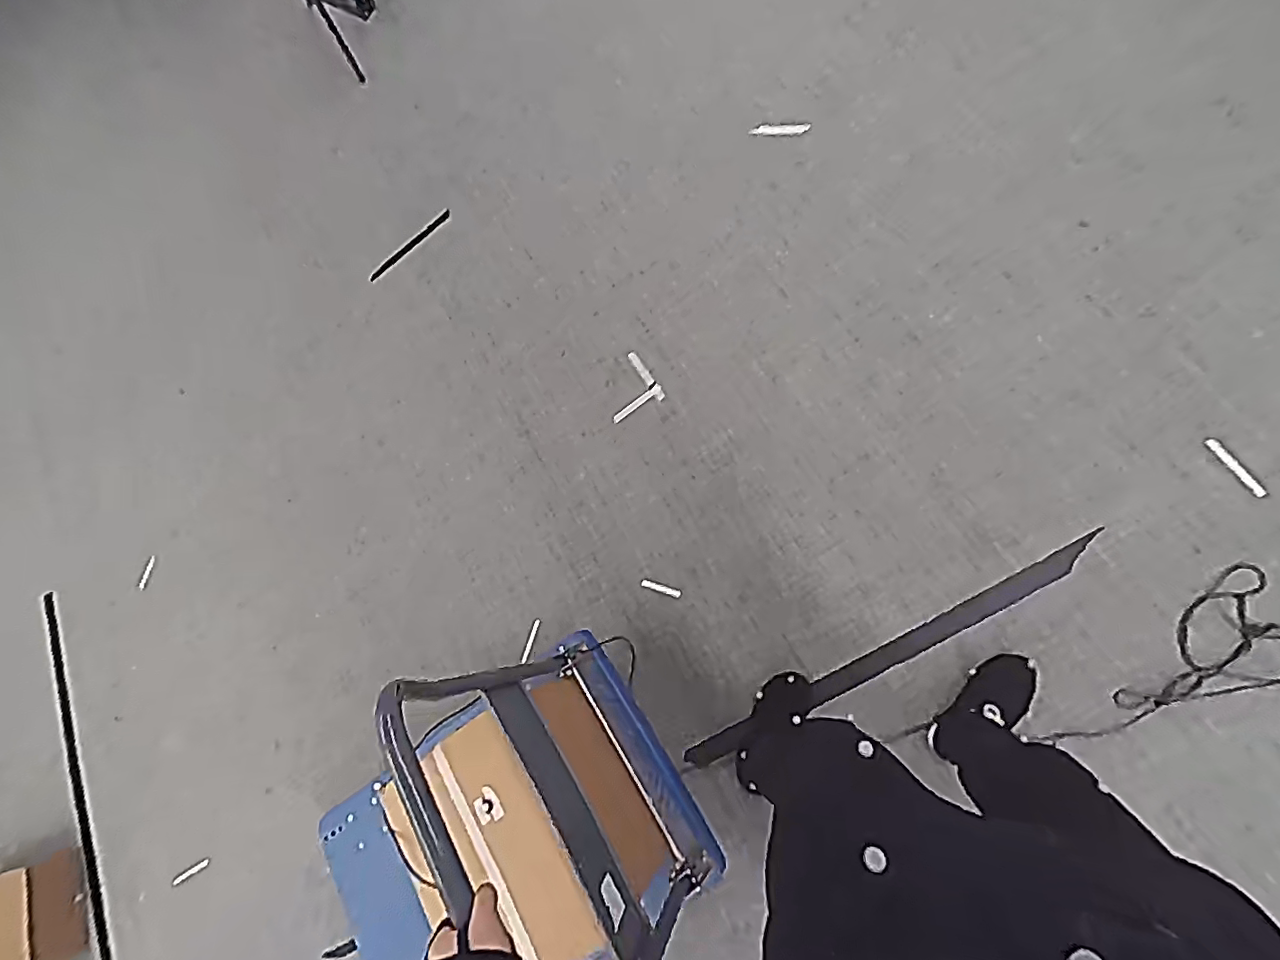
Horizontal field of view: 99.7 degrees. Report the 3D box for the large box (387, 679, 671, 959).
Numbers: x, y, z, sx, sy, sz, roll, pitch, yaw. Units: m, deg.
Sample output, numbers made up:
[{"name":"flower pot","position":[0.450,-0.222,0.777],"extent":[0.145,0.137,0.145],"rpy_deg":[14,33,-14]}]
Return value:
[{"name":"large box","position":[-0.202,0.668,1.063],"extent":[0.320,0.320,0.408],"rpy_deg":[-38,70,7]}]
